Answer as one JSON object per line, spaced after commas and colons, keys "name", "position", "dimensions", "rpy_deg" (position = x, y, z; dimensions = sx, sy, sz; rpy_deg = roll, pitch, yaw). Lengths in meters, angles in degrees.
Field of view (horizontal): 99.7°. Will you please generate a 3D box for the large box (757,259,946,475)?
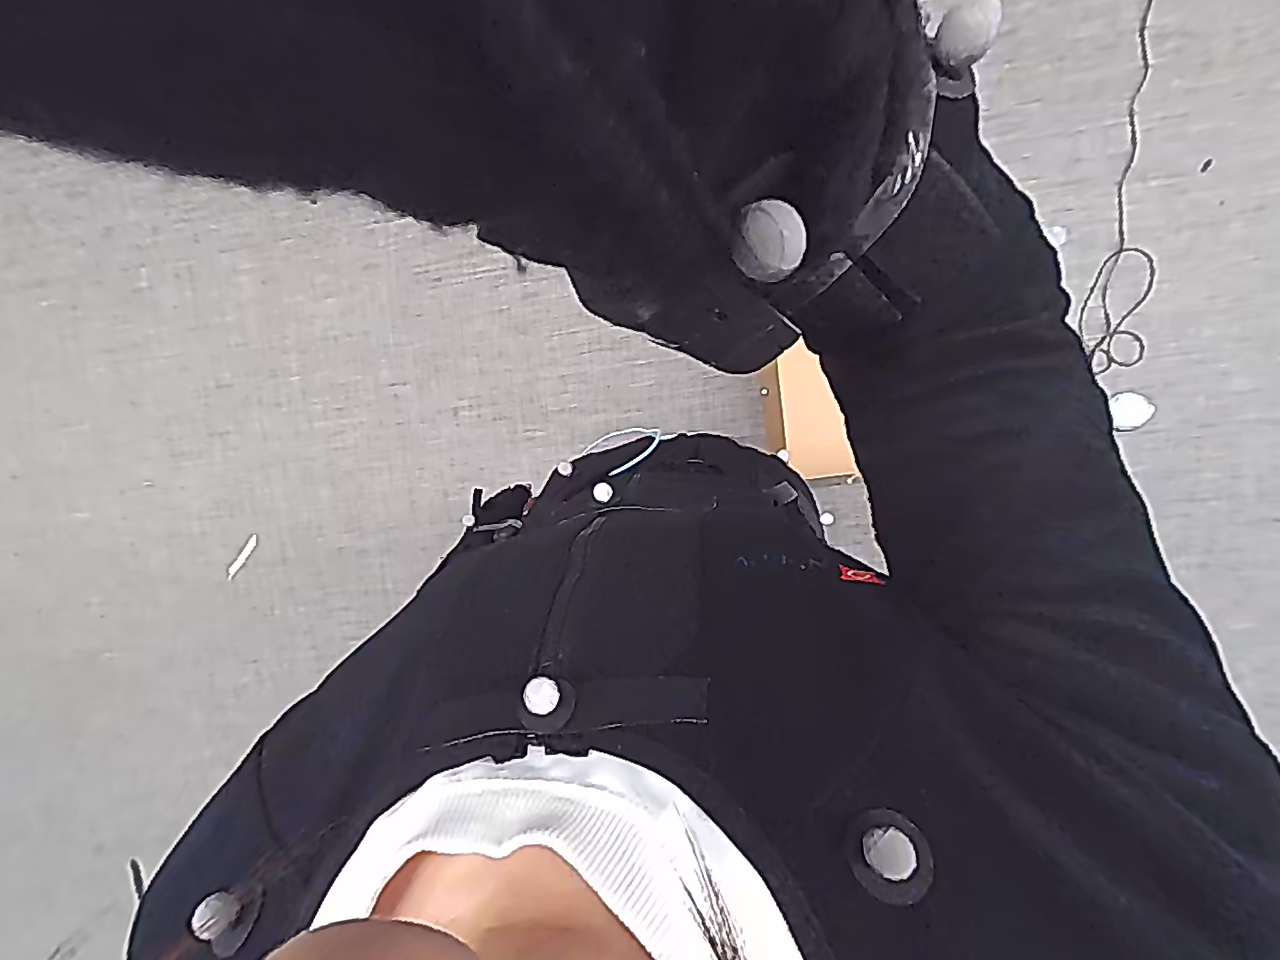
{"name": "large box", "position": [0.460, -0.234, 1.248], "dimensions": [0.320, 0.320, 0.408], "rpy_deg": [-7, 93, 6]}
